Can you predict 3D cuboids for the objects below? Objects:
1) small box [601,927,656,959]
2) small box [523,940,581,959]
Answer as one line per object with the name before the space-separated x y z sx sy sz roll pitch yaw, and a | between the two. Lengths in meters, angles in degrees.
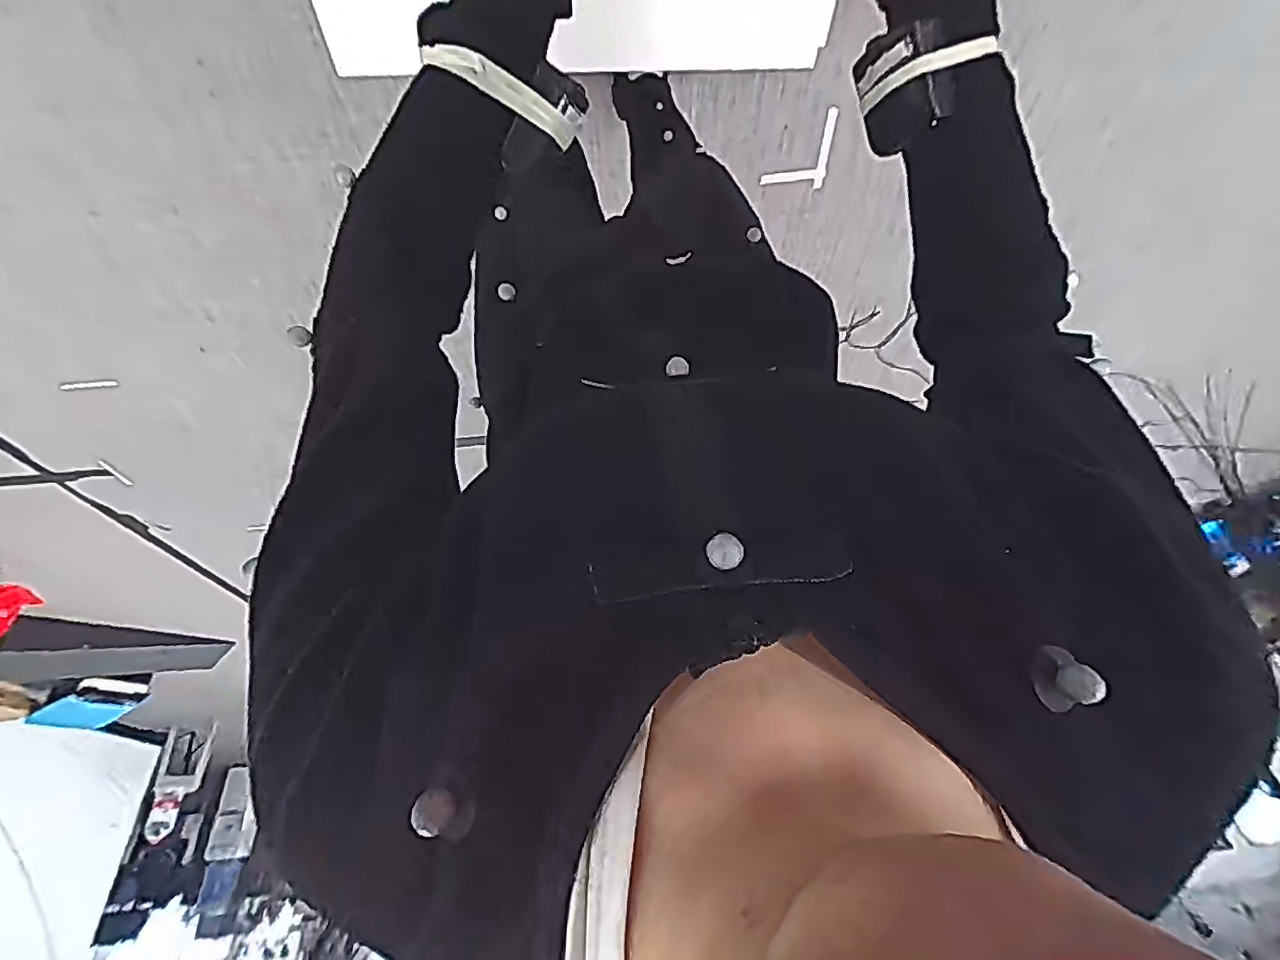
small box | -0.034 1.533 1.698 0.168 0.176 0.179 -4 146 -6
small box | -0.269 1.555 1.678 0.168 0.176 0.179 -6 146 -5
